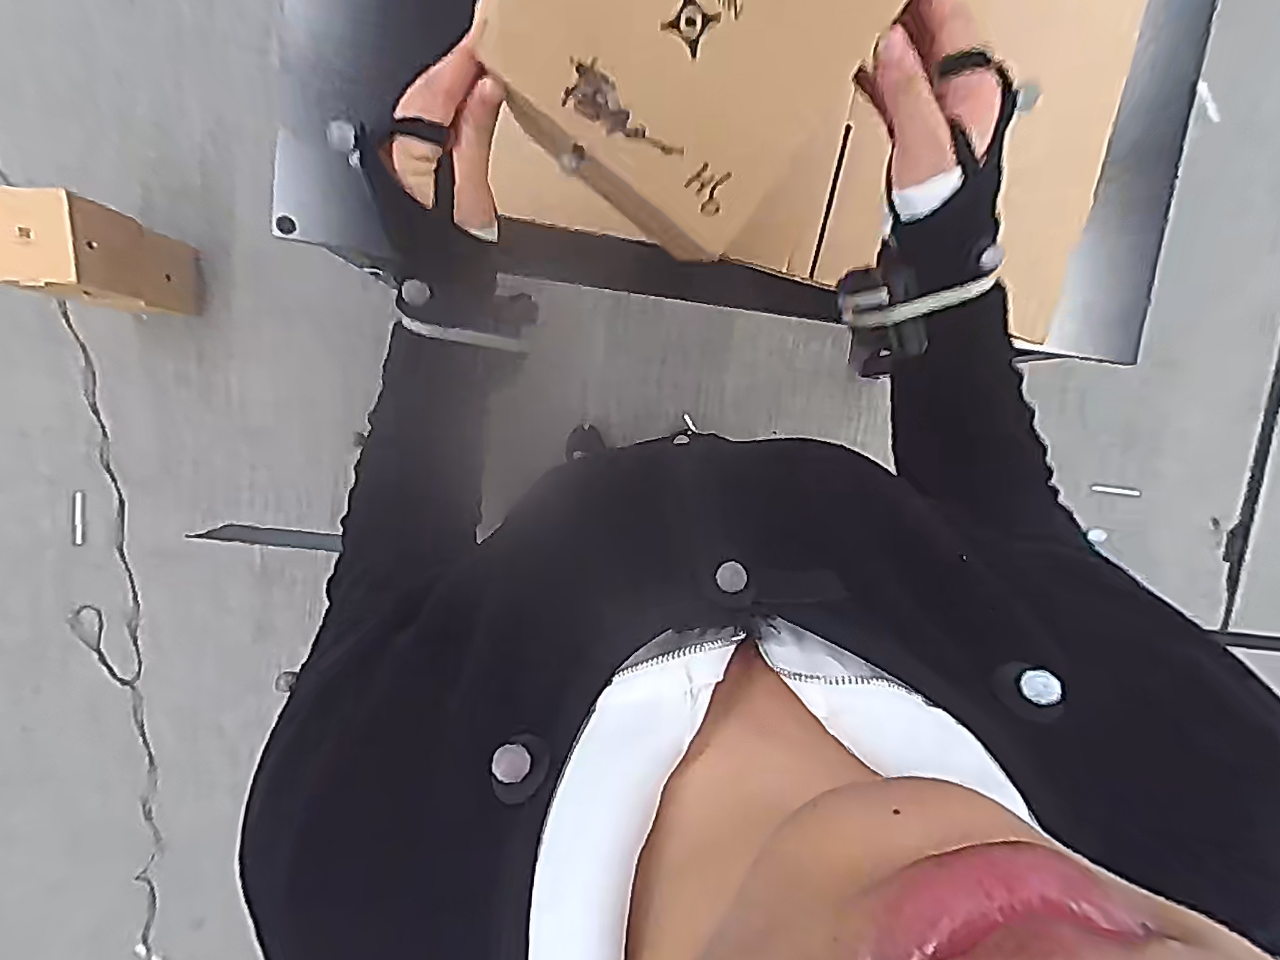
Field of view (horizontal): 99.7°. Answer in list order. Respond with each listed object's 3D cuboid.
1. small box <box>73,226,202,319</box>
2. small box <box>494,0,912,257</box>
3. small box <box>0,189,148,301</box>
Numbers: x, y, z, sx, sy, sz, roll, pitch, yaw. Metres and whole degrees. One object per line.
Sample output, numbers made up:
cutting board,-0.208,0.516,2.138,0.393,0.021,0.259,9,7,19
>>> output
small box,-1.174,-0.486,1.270,0.168,0.176,0.179,2,98,-5
small box,0.031,-0.272,0.355,0.168,0.176,0.179,33,105,-15
small box,-1.163,-0.471,1.108,0.168,0.176,0.179,-1,96,-5
